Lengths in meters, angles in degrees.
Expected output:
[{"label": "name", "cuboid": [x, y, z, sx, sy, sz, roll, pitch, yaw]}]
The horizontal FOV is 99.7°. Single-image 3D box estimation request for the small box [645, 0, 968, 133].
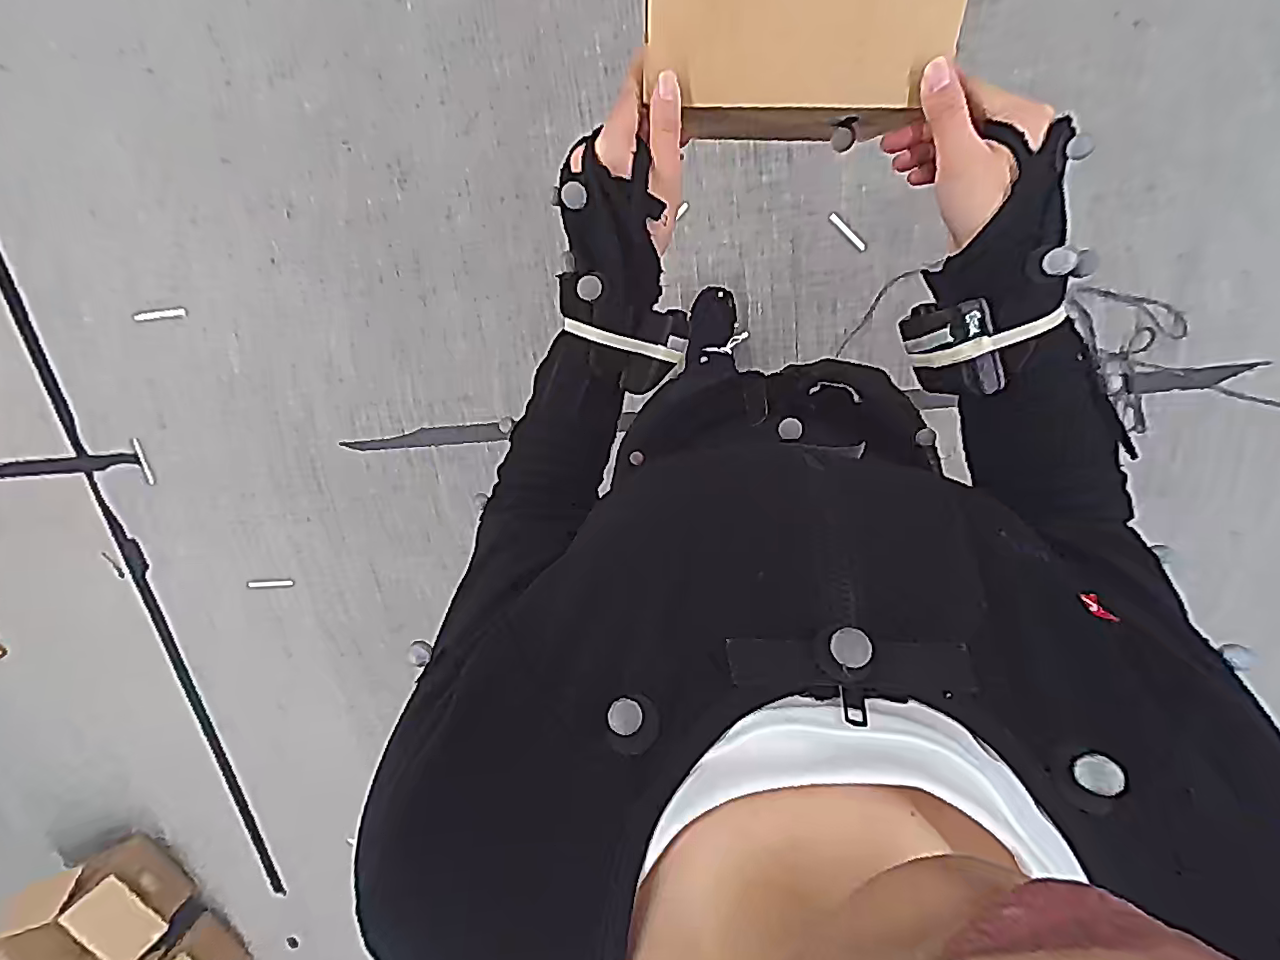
[{"label": "small box", "cuboid": [0.099, -0.334, 0.350, 0.179, 0.176, 0.168, 4, 116, 5]}]
